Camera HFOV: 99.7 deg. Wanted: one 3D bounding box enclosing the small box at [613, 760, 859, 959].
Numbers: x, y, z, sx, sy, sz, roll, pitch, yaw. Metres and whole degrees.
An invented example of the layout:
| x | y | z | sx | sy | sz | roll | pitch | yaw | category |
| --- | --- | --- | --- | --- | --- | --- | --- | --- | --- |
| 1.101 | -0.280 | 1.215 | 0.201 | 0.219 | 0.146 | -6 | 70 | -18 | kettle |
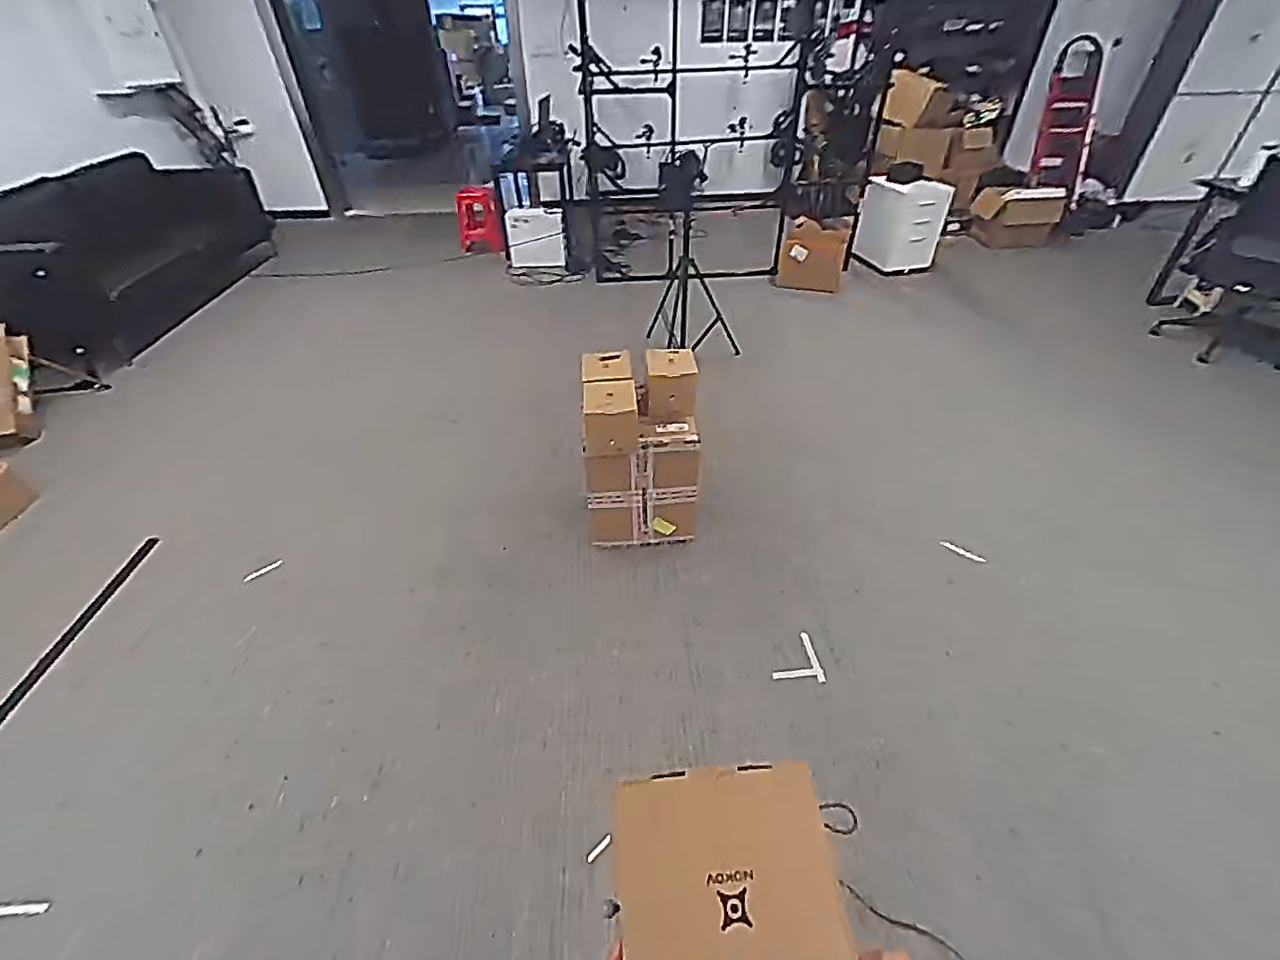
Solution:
| x | y | z | sx | sy | sz | roll | pitch | yaw | category |
| --- | --- | --- | --- | --- | --- | --- | --- | --- | --- |
| 0.064 | 0.357 | 0.460 | 0.168 | 0.176 | 0.179 | -2 | 52 | -6 | small box |
